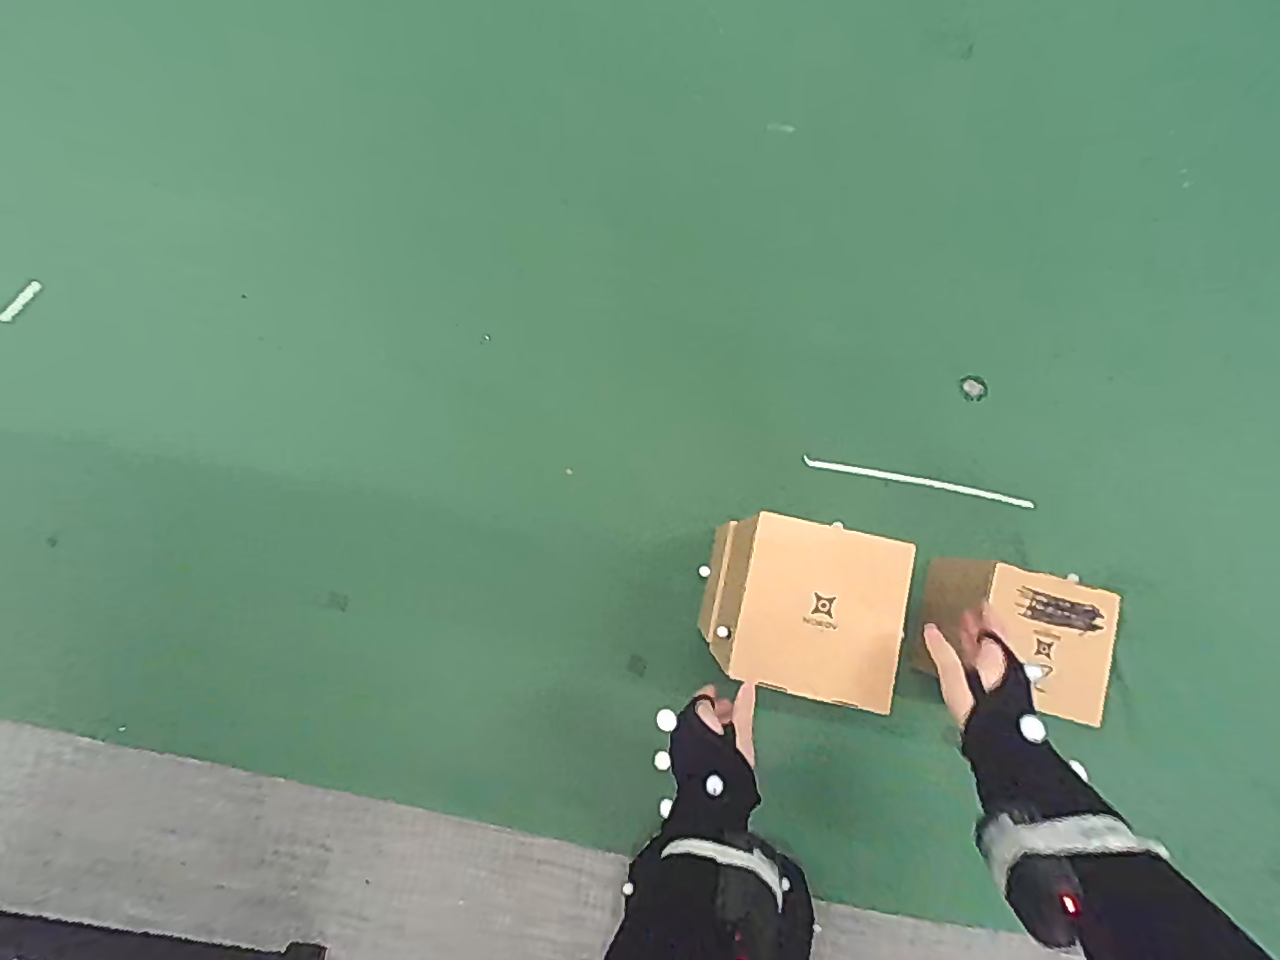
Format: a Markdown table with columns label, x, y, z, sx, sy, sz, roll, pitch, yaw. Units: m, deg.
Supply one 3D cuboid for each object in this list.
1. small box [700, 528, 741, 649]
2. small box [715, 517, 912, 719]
| label | x | y | z | sx | sy | sz | roll | pitch | yaw |
| --- | --- | --- | --- | --- | --- | --- | --- | --- | --- |
| small box | 0.192 | 0.170 | 0.794 | 0.179 | 0.176 | 0.168 | 11 | 82 | 4 |
| small box | 0.188 | 0.150 | 0.632 | 0.168 | 0.176 | 0.179 | 12 | 83 | 4 |
